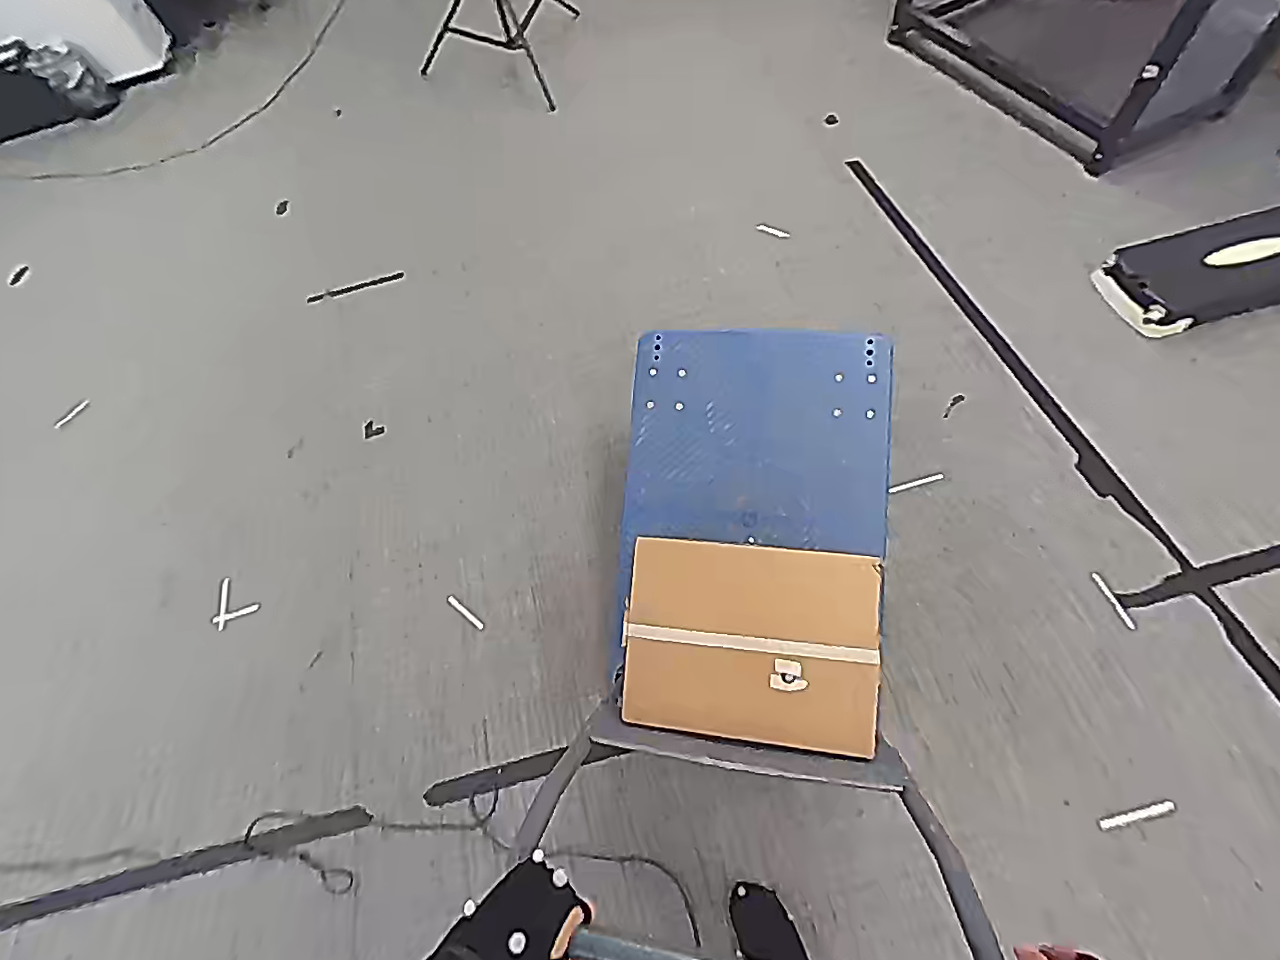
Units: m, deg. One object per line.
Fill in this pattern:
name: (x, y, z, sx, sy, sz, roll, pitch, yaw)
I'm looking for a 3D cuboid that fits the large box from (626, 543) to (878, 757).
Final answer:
large box: (0.204, 0.293, 1.041, 0.408, 0.320, 0.320, 4, 84, 10)
